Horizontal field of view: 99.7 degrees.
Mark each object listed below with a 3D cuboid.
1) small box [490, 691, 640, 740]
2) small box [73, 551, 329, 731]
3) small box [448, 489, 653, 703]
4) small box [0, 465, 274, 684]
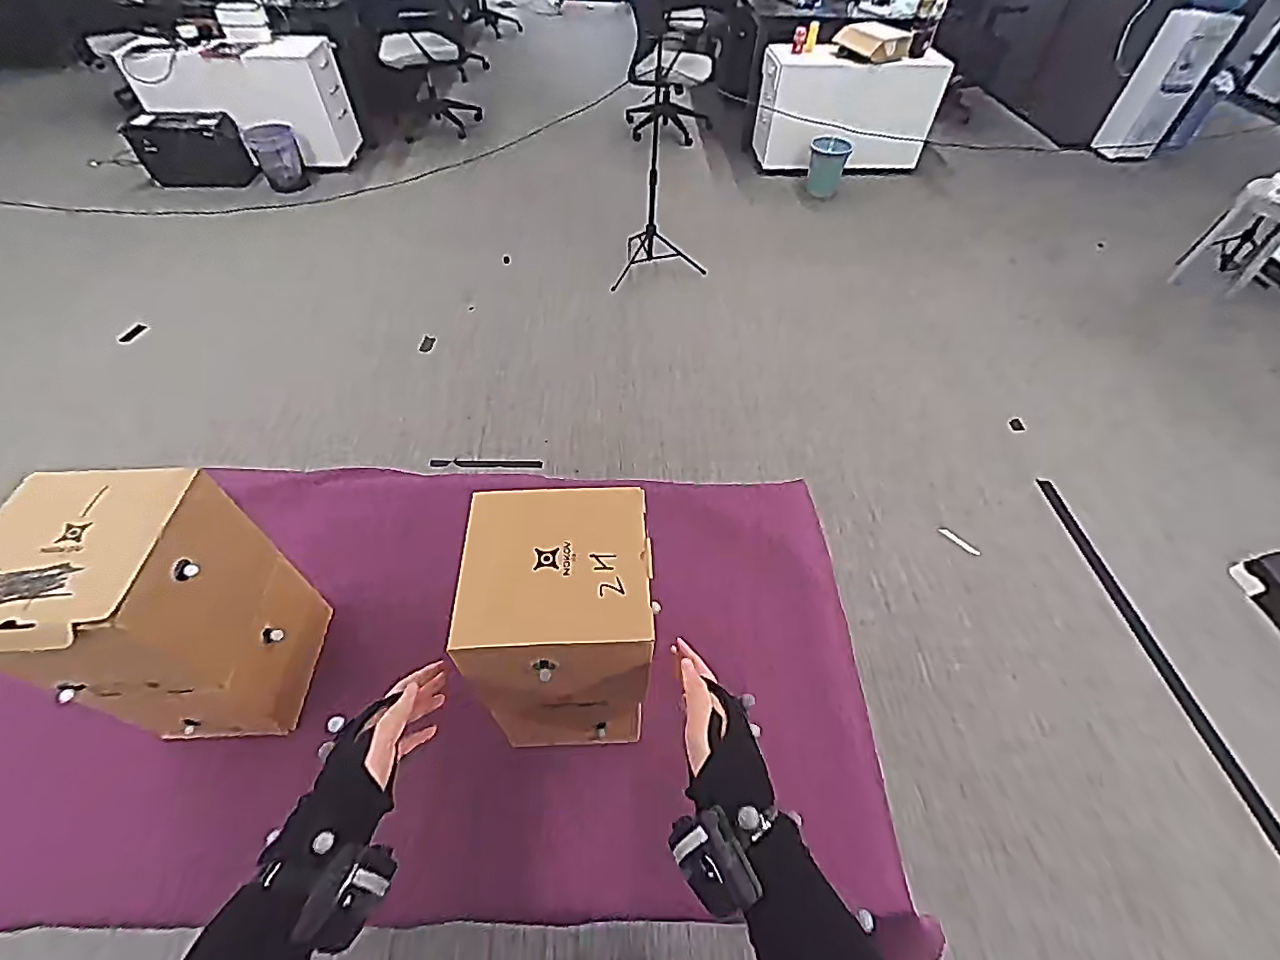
[{"bbox_3d":[-0.083,0.225,0.695,0.168,0.176,0.179,0,51,-2],"label":"small box"},{"bbox_3d":[-0.532,0.208,0.695,0.168,0.176,0.179,-1,52,-3],"label":"small box"},{"bbox_3d":[-0.080,0.125,0.565,0.179,0.176,0.168,-1,52,-3],"label":"small box"},{"bbox_3d":[-0.529,0.105,0.568,0.168,0.176,0.179,-2,51,-4],"label":"small box"}]
